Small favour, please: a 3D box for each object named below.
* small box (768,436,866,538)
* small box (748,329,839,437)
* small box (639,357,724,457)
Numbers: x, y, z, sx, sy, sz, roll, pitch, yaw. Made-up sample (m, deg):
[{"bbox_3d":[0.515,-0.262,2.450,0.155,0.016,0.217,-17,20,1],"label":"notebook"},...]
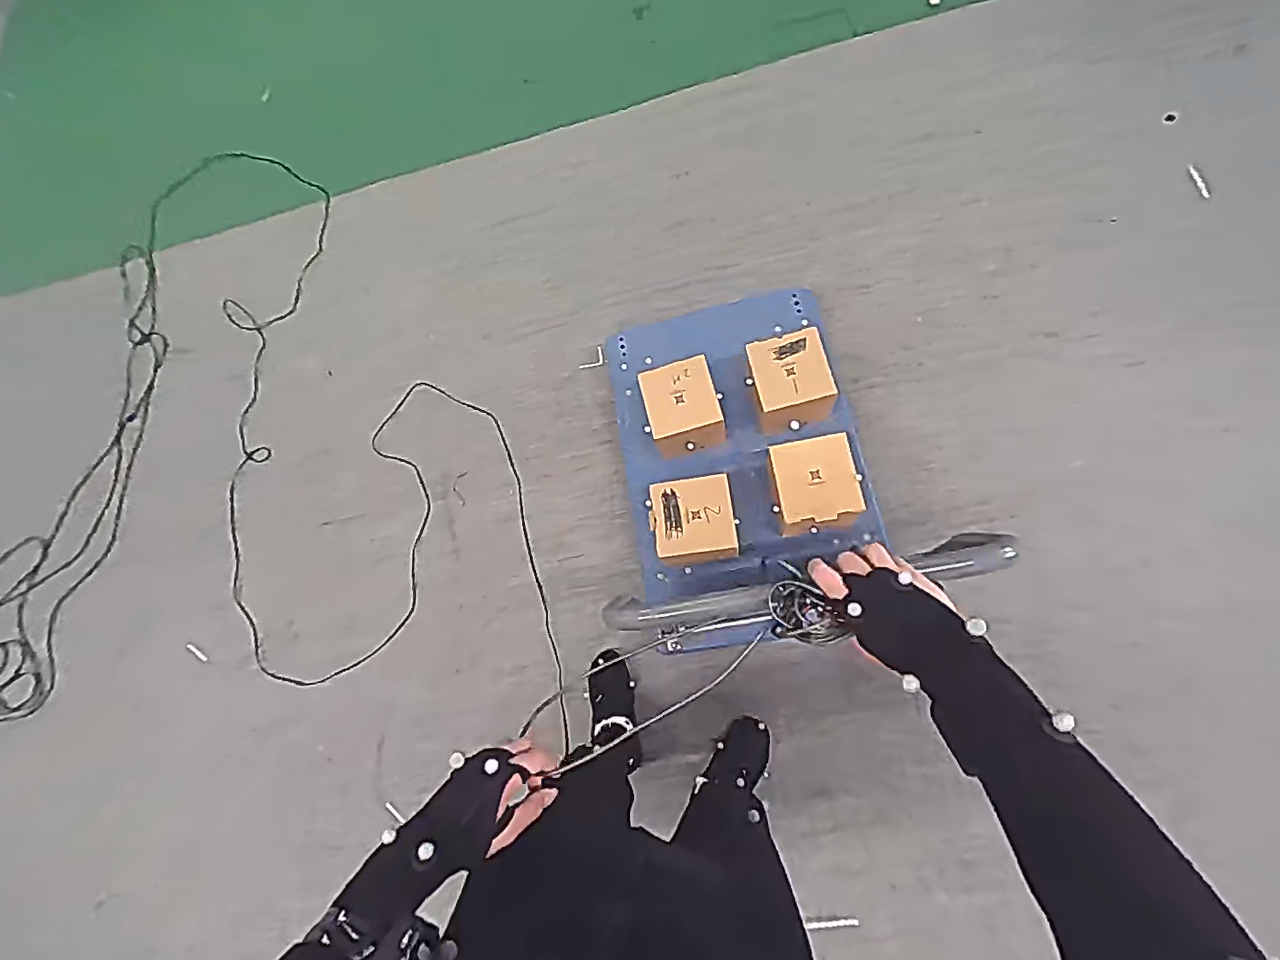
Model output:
[{"bbox_3d":[0.387,0.022,1.213,0.168,0.176,0.179,-10,73,8],"label":"small box"},{"bbox_3d":[0.354,-0.224,1.284,0.168,0.176,0.179,-13,74,8],"label":"small box"},{"bbox_3d":[0.106,-0.167,1.317,0.168,0.176,0.179,-15,73,6],"label":"small box"}]
